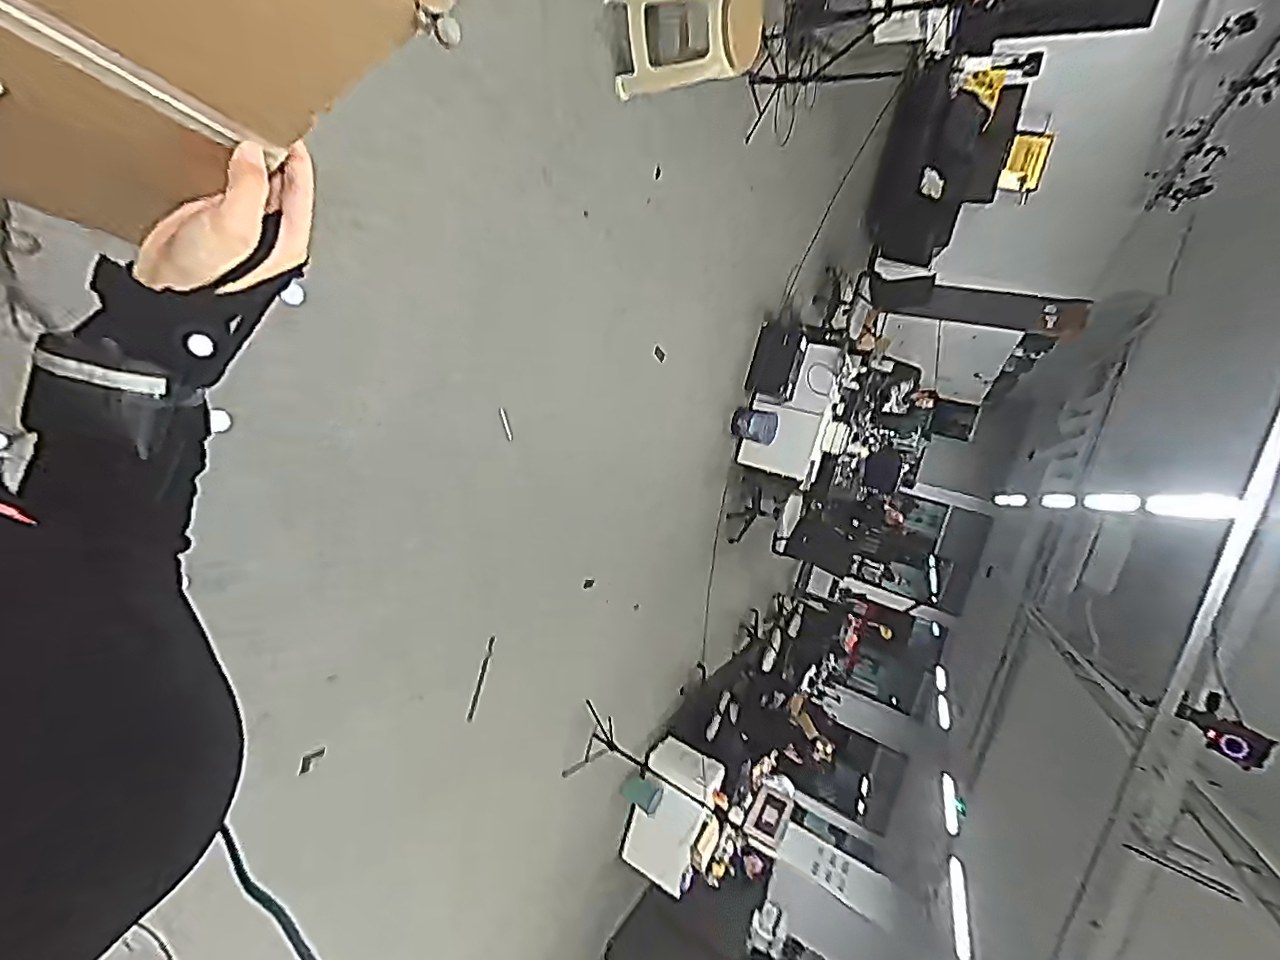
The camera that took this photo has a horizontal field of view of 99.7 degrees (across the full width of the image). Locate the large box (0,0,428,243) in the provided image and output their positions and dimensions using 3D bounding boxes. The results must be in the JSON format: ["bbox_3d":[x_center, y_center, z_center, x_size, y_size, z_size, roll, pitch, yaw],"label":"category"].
[{"bbox_3d":[-0.349,-0.372,0.195,0.408,0.320,0.320,9,71,-60],"label":"large box"}]
